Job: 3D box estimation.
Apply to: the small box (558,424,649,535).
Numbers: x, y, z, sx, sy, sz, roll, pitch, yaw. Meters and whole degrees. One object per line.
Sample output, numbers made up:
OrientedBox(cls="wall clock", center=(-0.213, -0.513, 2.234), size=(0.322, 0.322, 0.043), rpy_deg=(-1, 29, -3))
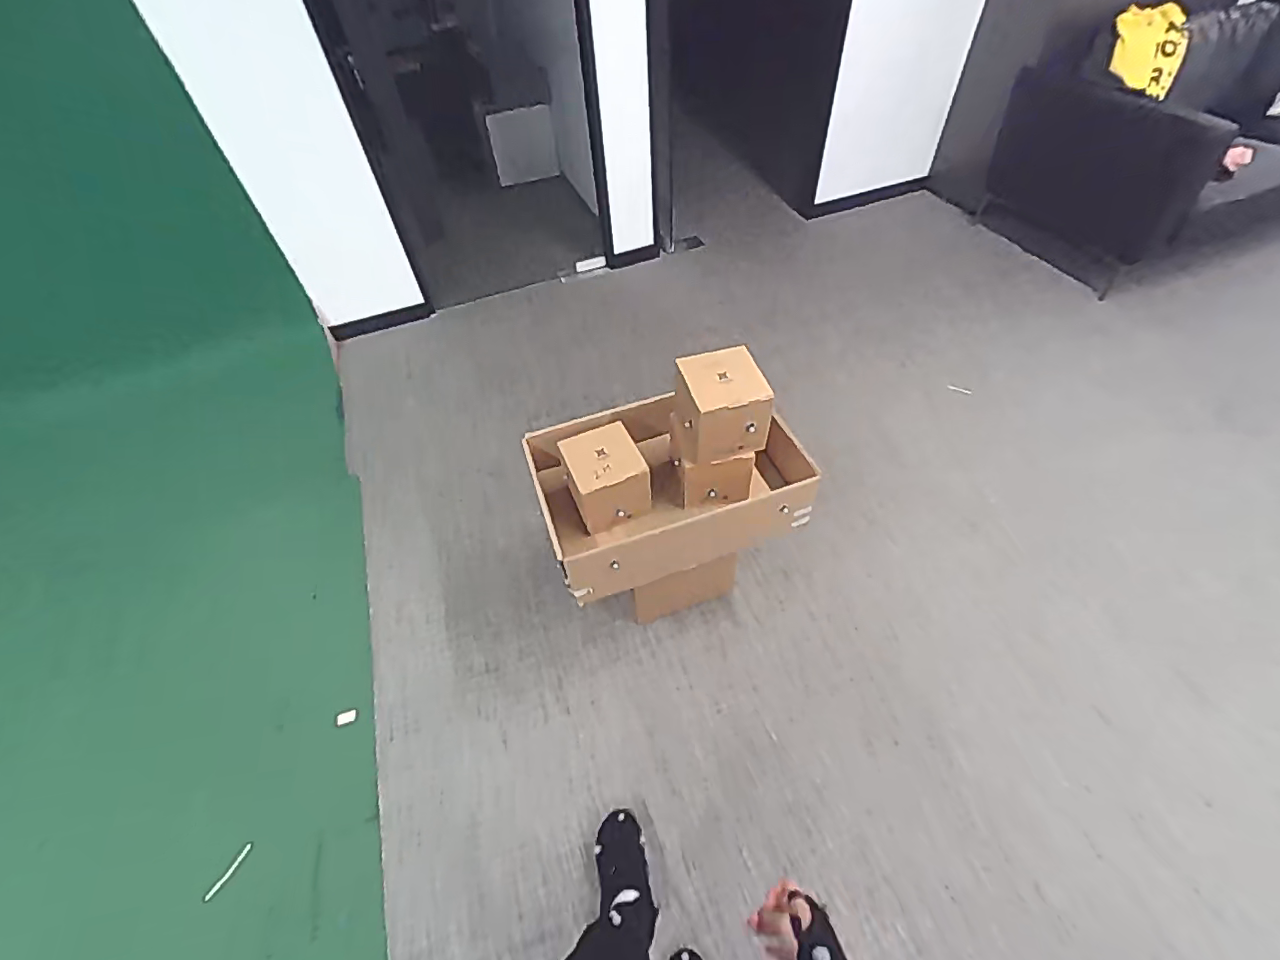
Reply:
OrientedBox(cls="small box", center=(-0.085, 0.000, 1.294), size=(0.168, 0.176, 0.179), rpy_deg=(-20, 53, -12))

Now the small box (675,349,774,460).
OrientedBox(cls="small box", center=(0.179, -0.160, 1.202), size=(0.168, 0.176, 0.179), rpy_deg=(-12, 51, -8))
